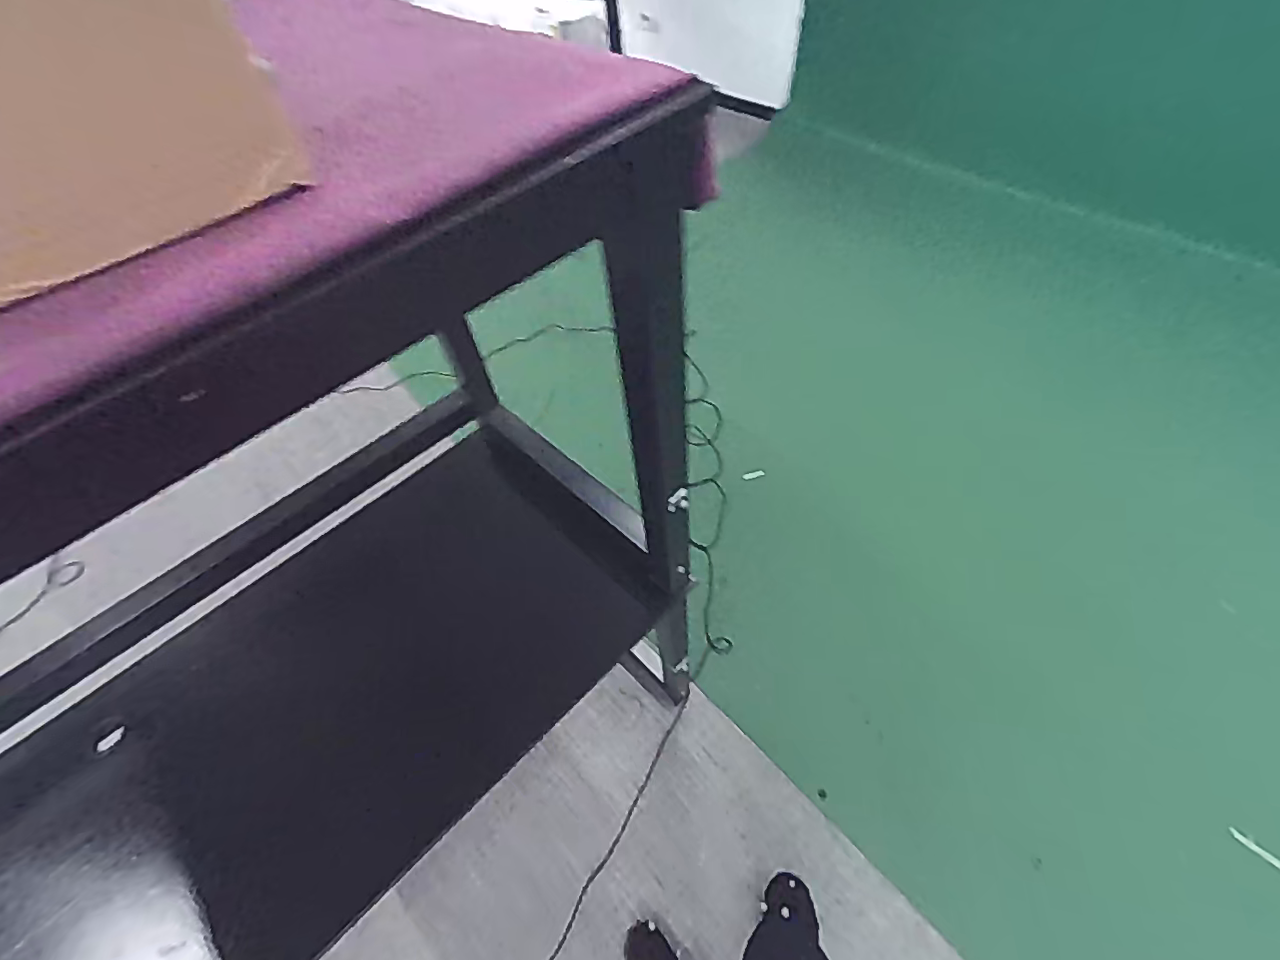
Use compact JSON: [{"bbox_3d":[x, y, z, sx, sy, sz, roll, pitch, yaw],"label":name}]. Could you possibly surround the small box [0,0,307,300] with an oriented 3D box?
[{"bbox_3d":[-0.310,-0.215,0.259,0.179,0.176,0.168,-36,59,-19],"label":"small box"}]
